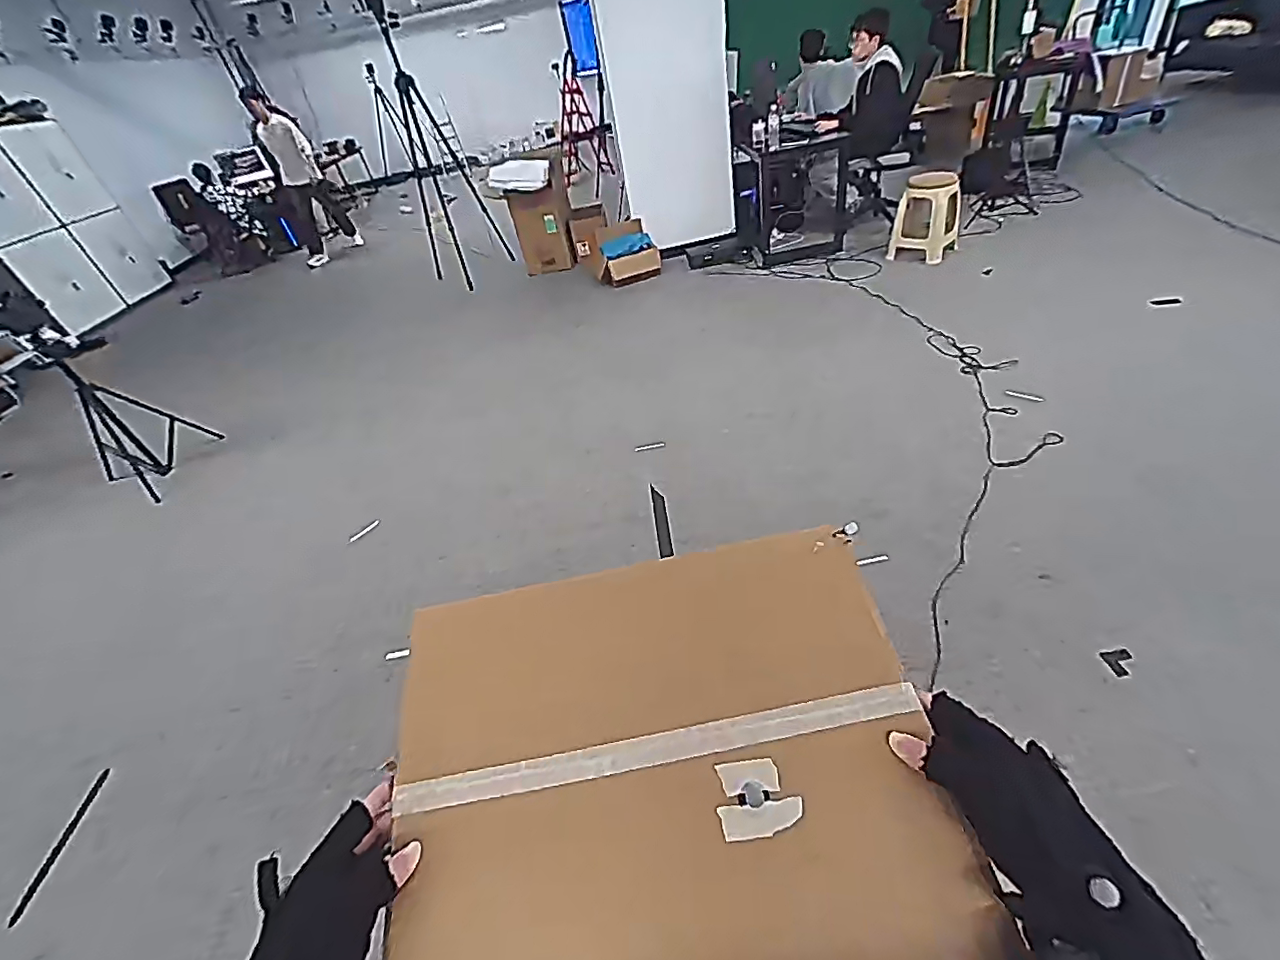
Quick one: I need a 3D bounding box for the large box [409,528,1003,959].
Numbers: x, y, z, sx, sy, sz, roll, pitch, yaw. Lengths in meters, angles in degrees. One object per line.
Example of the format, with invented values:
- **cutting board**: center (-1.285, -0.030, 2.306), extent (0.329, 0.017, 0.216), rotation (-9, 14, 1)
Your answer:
- **large box**: center (0.035, 0.294, 0.552), extent (0.408, 0.320, 0.320), rotation (-12, 55, 1)
